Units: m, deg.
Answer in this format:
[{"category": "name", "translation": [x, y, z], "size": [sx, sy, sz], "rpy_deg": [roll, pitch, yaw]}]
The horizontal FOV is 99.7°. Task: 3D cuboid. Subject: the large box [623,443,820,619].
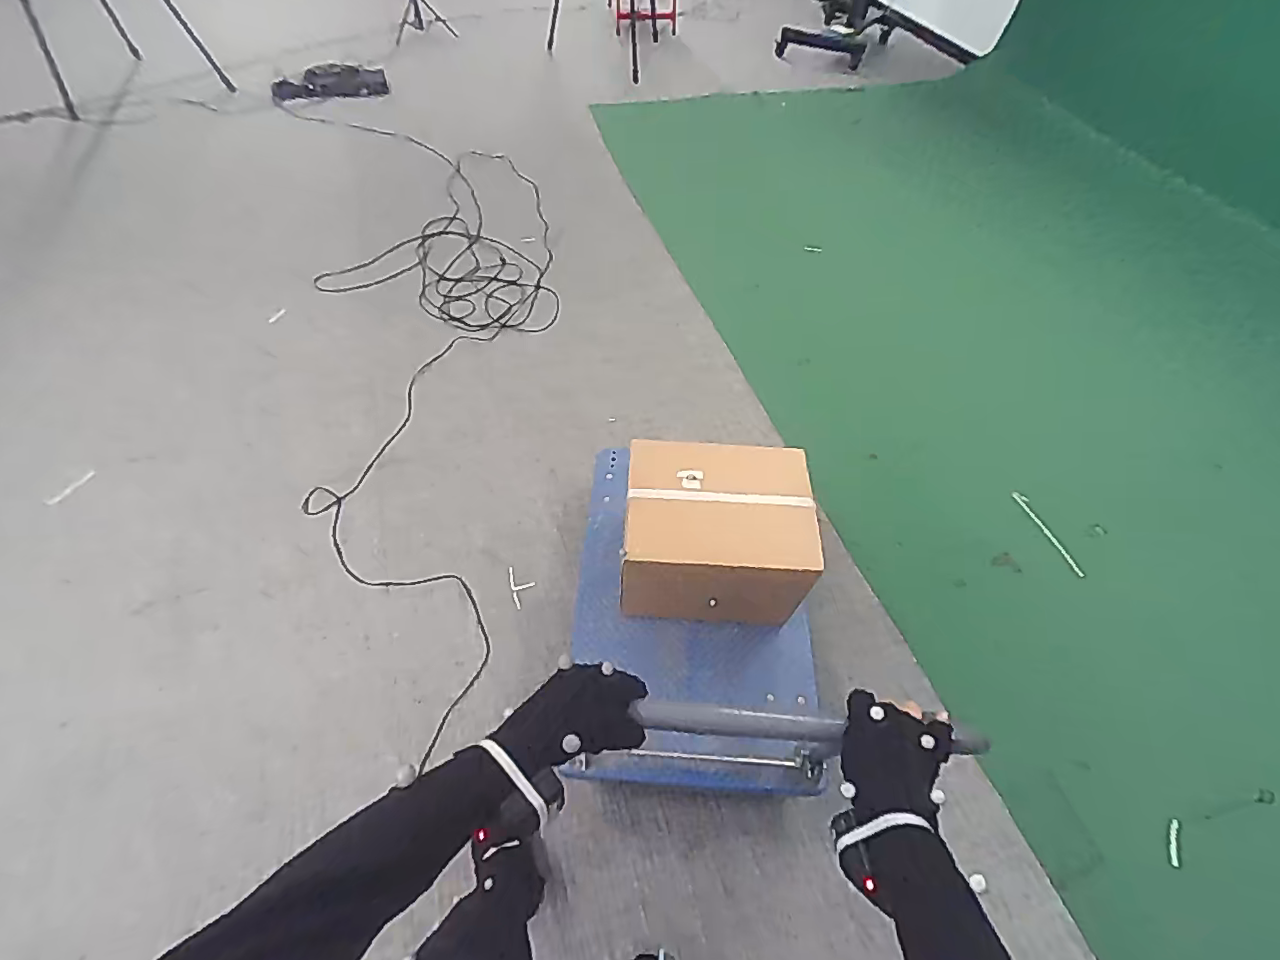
[{"category": "large box", "translation": [0.168, 0.131, 1.297], "size": [0.408, 0.320, 0.320], "rpy_deg": [3, 55, 0]}]
